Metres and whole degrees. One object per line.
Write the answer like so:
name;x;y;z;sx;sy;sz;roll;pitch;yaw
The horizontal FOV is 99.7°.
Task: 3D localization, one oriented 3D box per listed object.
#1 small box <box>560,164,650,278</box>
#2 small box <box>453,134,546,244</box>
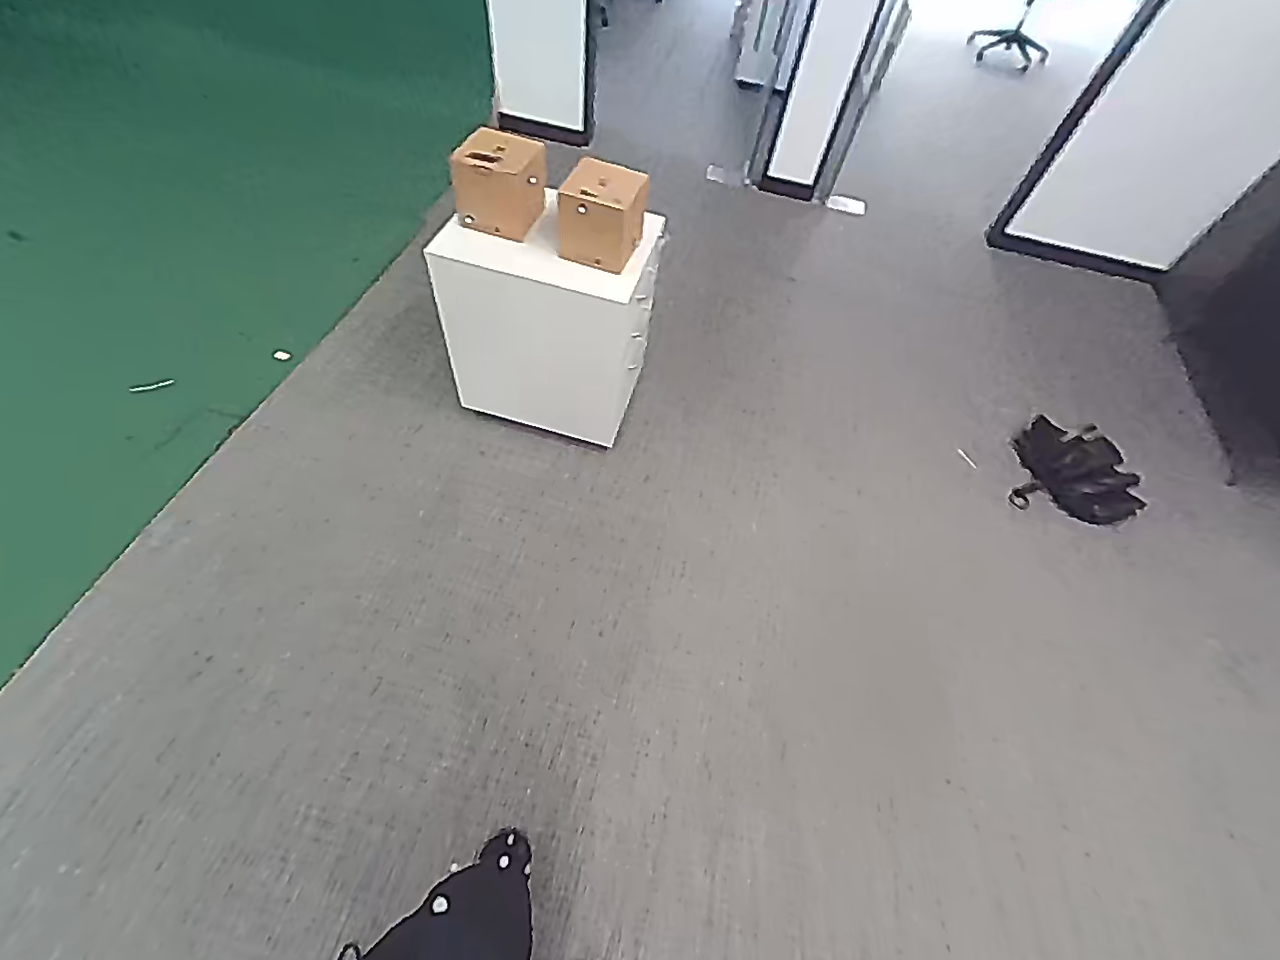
small box;-0.087;-0.628;1.315;0.168;0.176;0.179;18;55;6
small box;-0.339;-0.719;1.346;0.168;0.176;0.179;17;55;3
